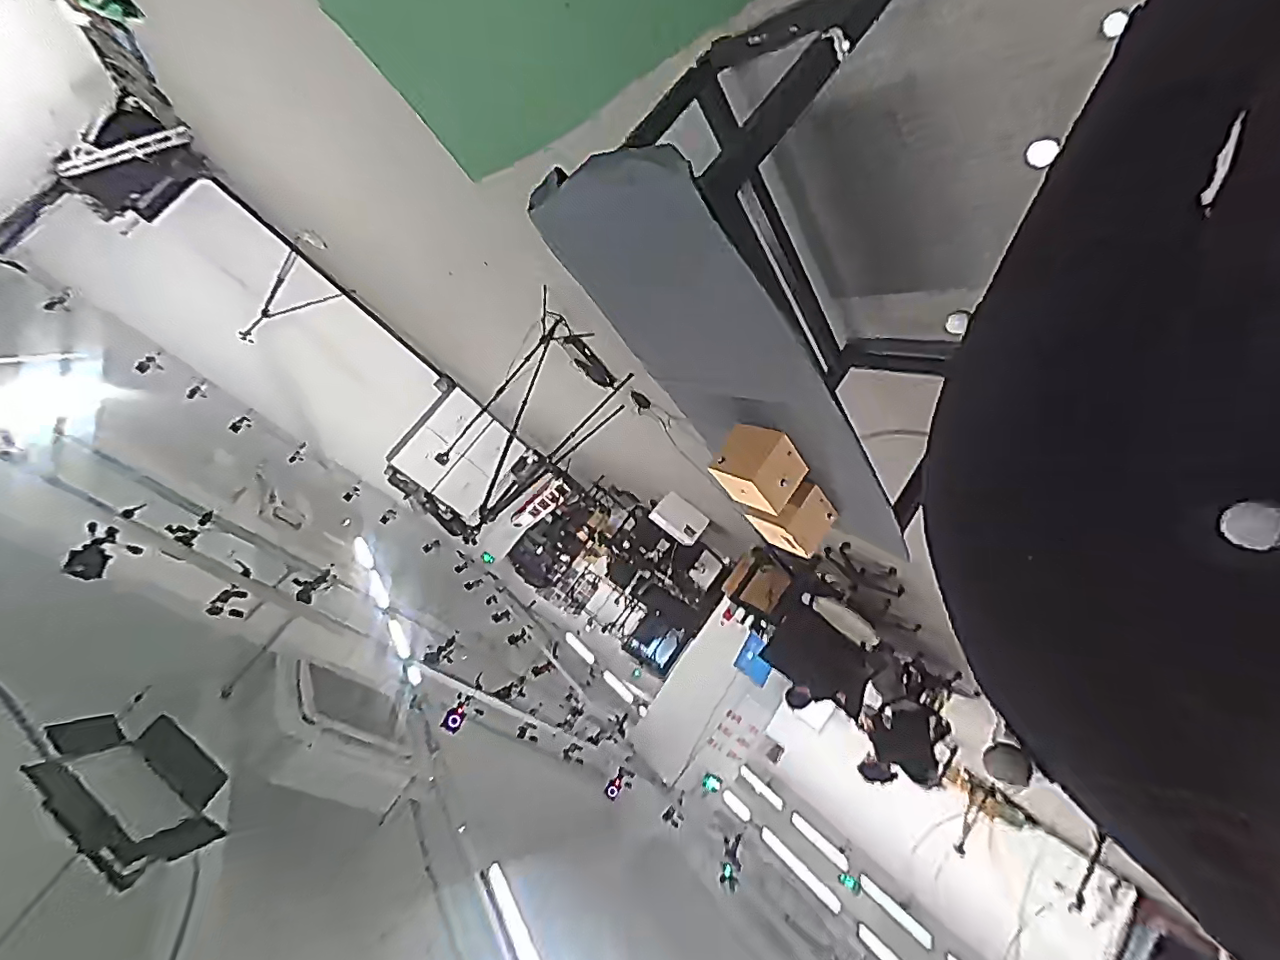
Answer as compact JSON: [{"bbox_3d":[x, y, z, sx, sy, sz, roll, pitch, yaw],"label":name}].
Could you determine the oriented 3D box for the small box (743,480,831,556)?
[{"bbox_3d":[0.455,0.099,1.644,0.168,0.176,0.179,44,167,-33],"label":"small box"}]

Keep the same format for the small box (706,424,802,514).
[{"bbox_3d":[0.324,-0.037,1.501,0.168,0.176,0.179,45,167,-36],"label":"small box"}]
